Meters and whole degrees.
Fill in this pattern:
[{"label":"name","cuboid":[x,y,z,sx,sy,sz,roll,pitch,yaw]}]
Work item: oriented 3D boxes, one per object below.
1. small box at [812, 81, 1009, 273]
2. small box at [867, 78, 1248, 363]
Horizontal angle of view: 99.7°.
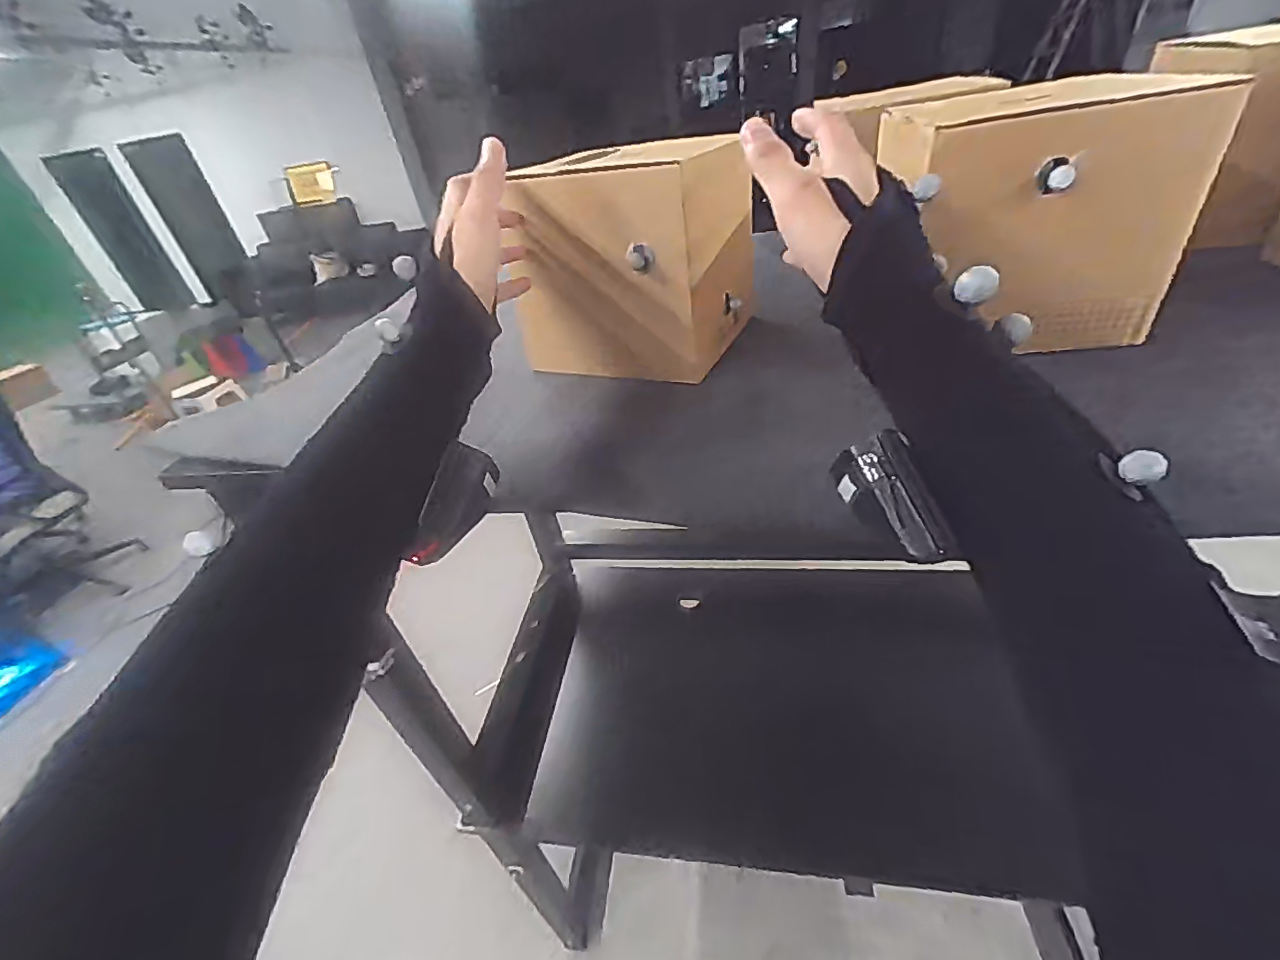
[{"label":"small box","cuboid":[0.300,-0.360,0.647,0.168,0.176,0.179,-2,37,12]},{"label":"small box","cuboid":[0.299,-0.210,0.444,0.179,0.176,0.168,-2,36,12]}]
